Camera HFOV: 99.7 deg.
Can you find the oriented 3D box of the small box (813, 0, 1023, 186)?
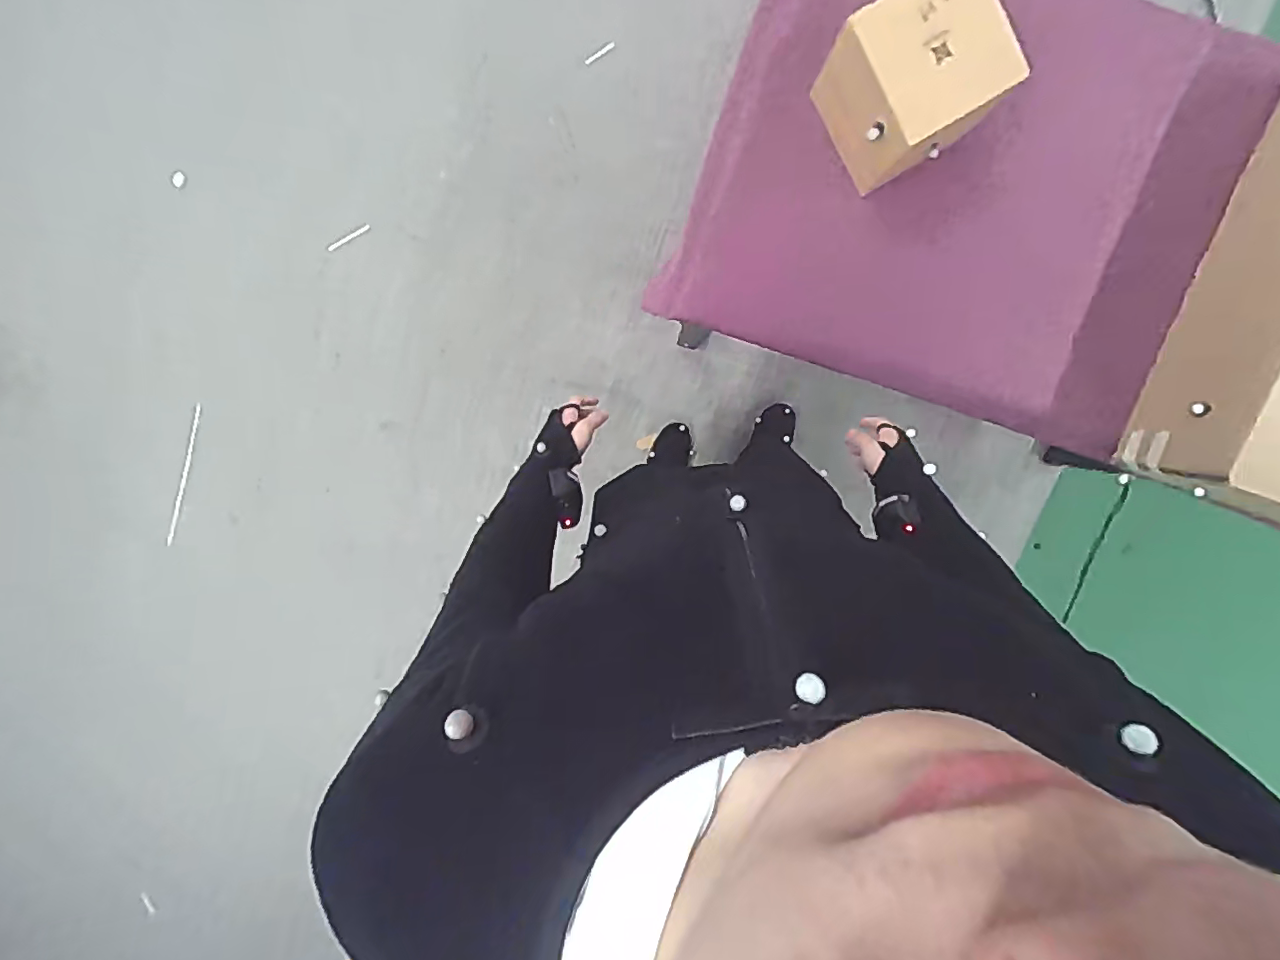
[{"bbox_3d":[0.368,-0.541,0.747,0.168,0.176,0.179,-29,96,4],"label":"small box"}]
